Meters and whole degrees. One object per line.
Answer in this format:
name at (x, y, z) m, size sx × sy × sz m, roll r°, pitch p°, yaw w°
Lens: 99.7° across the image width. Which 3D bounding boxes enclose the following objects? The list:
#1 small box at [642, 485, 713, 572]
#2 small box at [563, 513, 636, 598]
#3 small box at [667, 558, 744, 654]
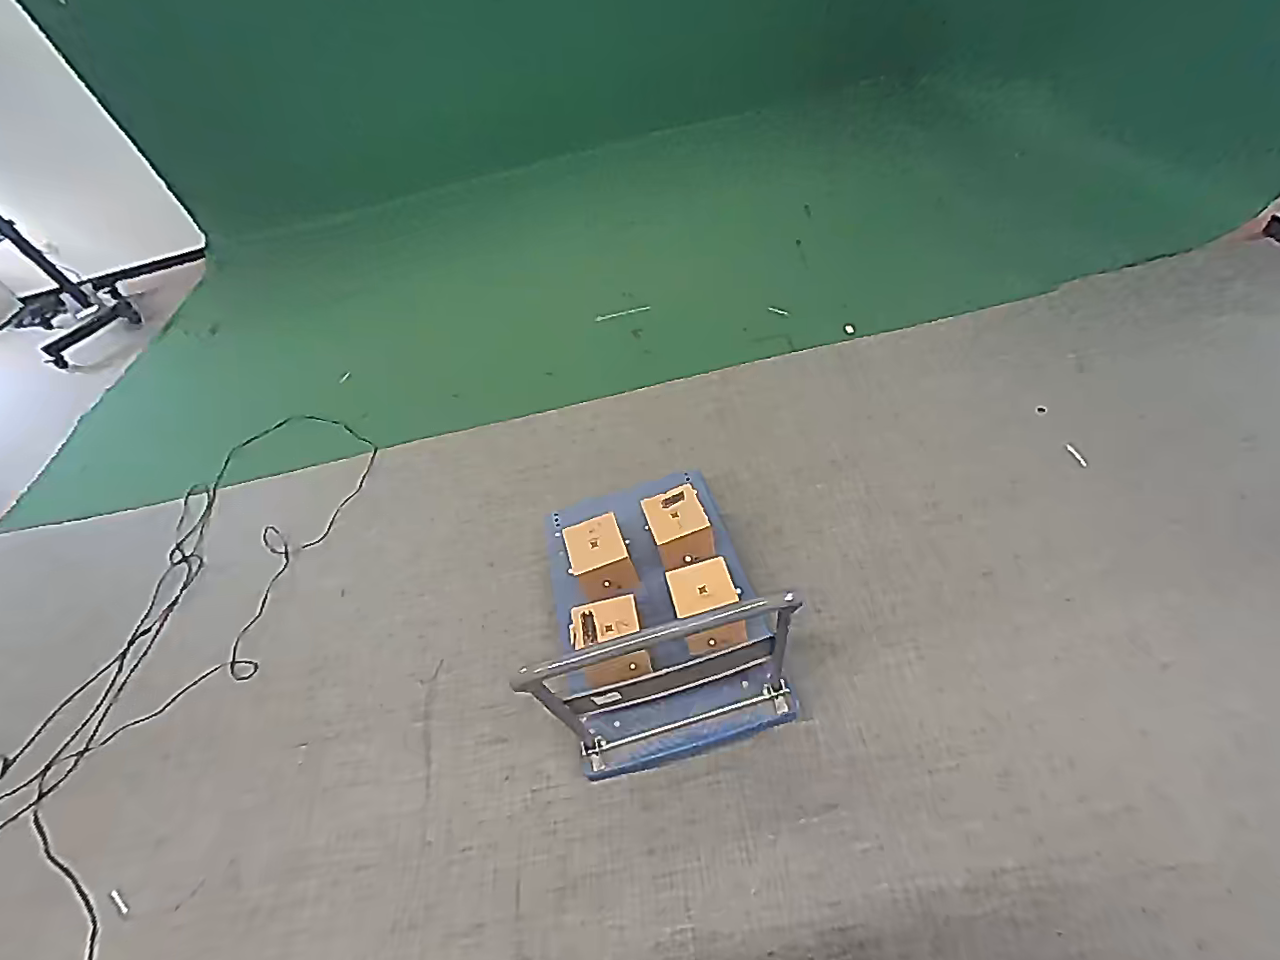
small box at (0.116, 0.151, 1.655) m, size 0.168 × 0.176 × 0.179 m, roll -20°, pitch 51°, yaw -2°
small box at (-0.120, 0.237, 1.640) m, size 0.168 × 0.176 × 0.179 m, roll -19°, pitch 49°, yaw -4°
small box at (0.179, 0.347, 1.480) m, size 0.168 × 0.176 × 0.179 m, roll -16°, pitch 50°, yaw 0°
